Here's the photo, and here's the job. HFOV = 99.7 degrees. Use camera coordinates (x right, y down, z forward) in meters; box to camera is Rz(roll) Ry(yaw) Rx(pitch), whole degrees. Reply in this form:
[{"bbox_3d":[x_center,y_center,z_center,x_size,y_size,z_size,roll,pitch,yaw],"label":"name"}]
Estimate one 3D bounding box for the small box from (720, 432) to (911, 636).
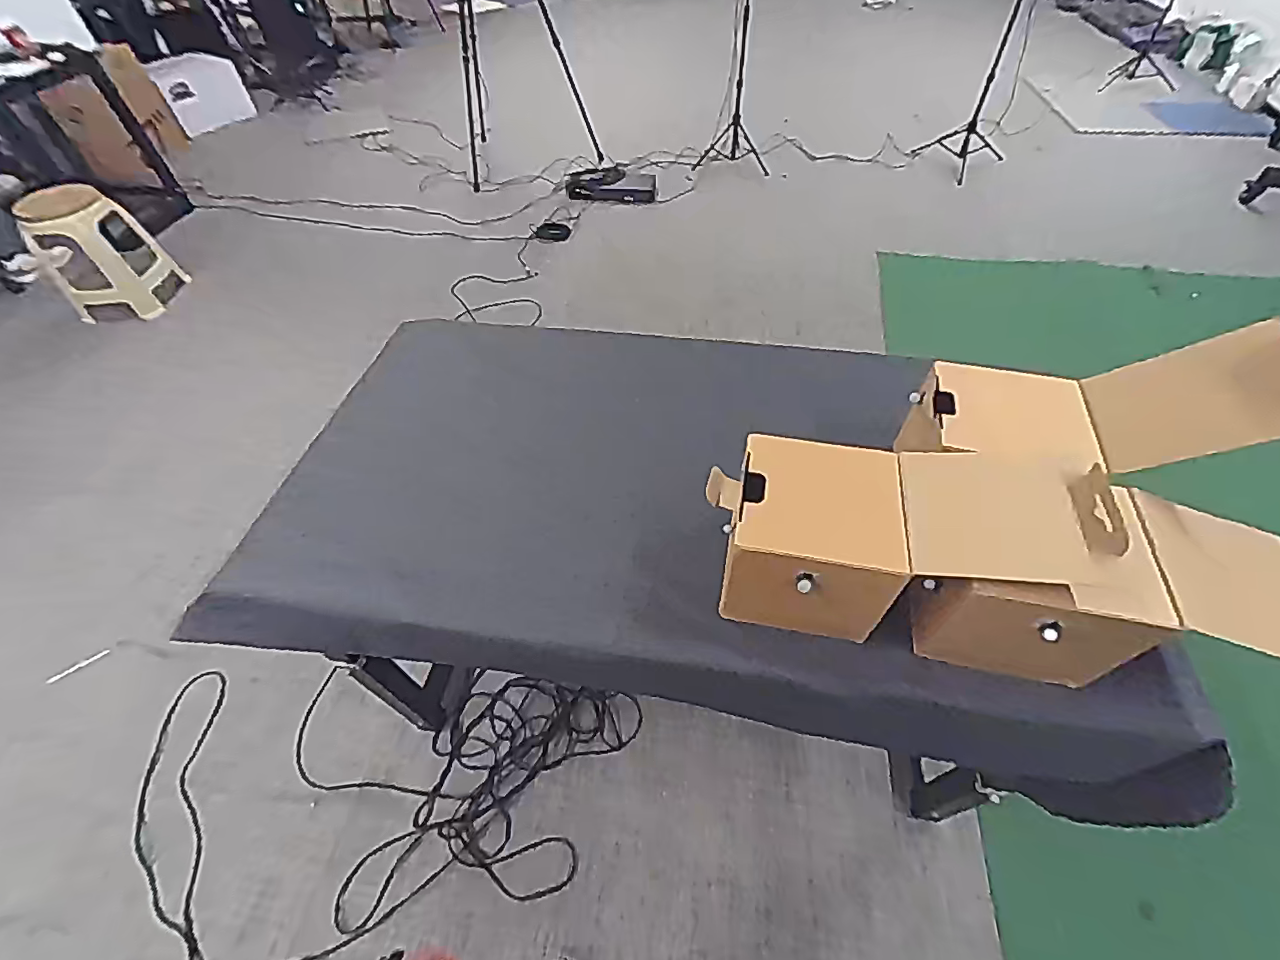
[{"bbox_3d":[0.197,0.068,0.643,0.179,0.176,0.168,8,52,10],"label":"small box"}]
